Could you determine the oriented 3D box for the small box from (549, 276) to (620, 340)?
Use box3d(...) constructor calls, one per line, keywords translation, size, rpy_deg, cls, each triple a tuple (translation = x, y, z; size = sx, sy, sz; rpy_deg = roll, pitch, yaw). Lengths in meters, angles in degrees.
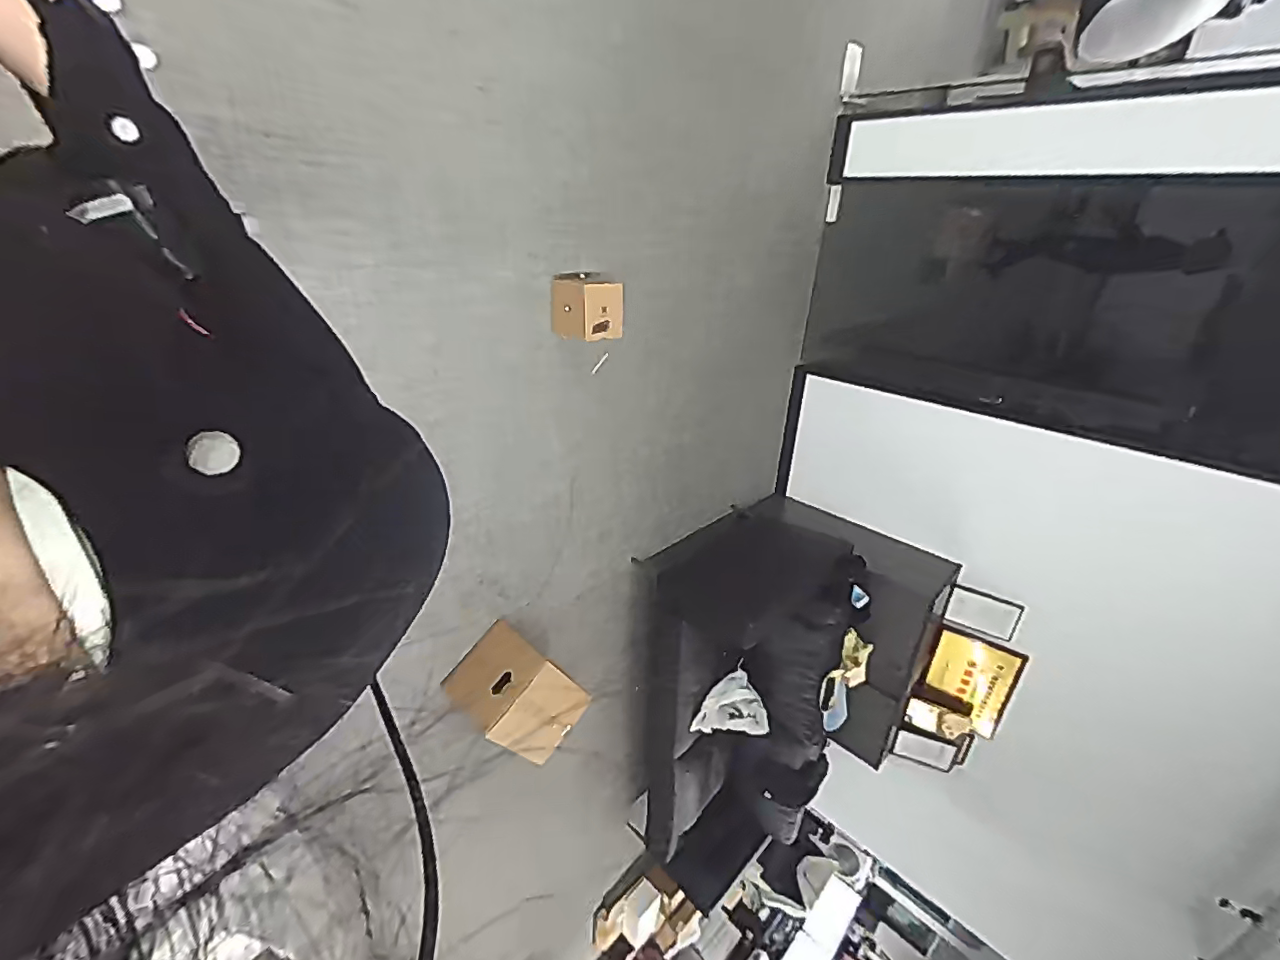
box3d(translation=(-0.187, -0.572, 1.788), size=(0.168, 0.176, 0.179), rpy_deg=(-21, 125, -41), cls="small box")
